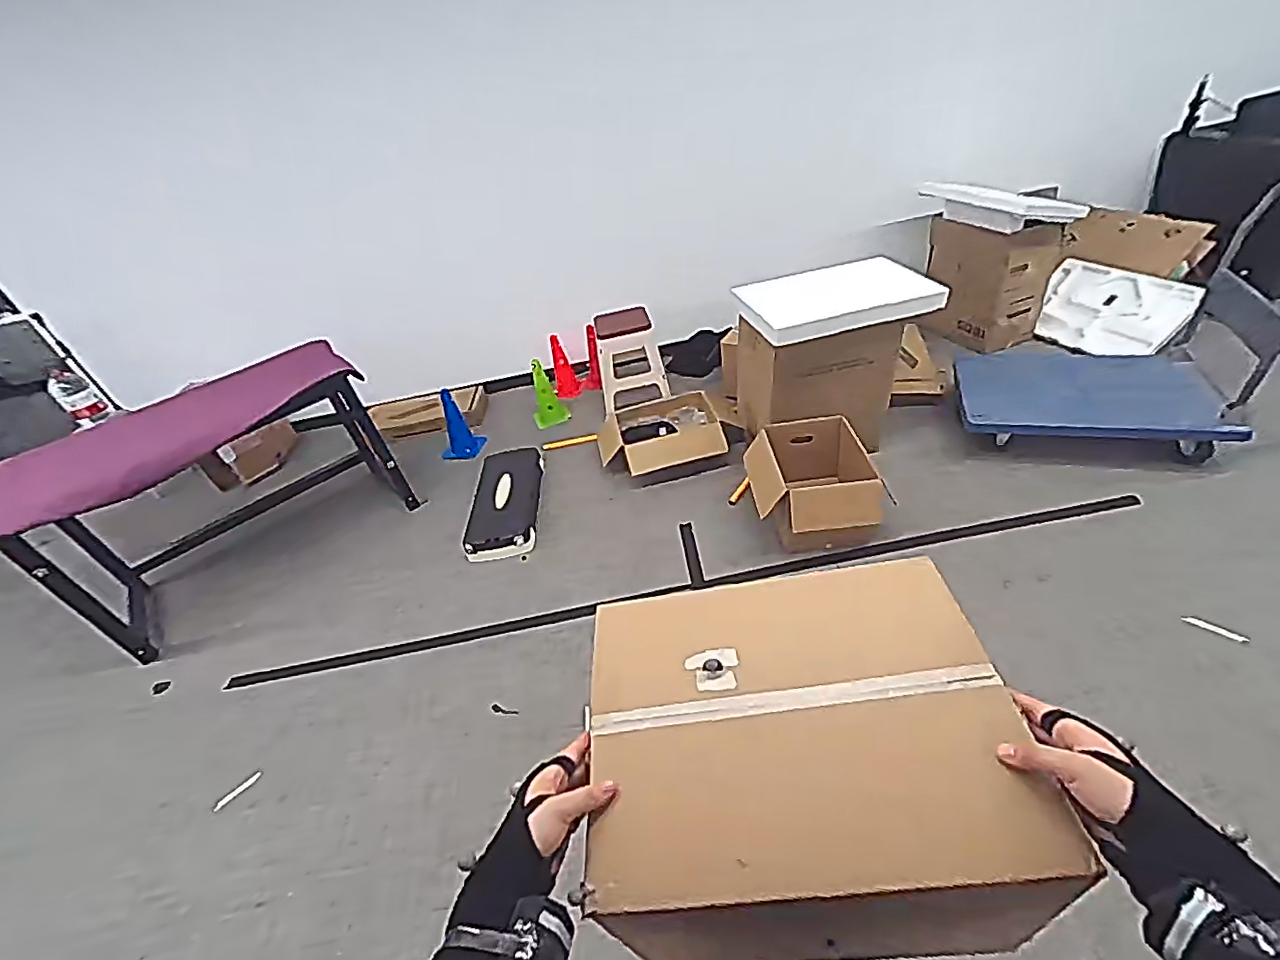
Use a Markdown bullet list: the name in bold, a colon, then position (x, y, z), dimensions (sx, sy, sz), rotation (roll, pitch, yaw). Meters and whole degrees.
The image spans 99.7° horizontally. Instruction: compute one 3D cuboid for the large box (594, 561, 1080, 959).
- **large box**: position (0.182, 0.343, 0.650), dimensions (0.408, 0.320, 0.320), rotation (-11, 39, 7)
